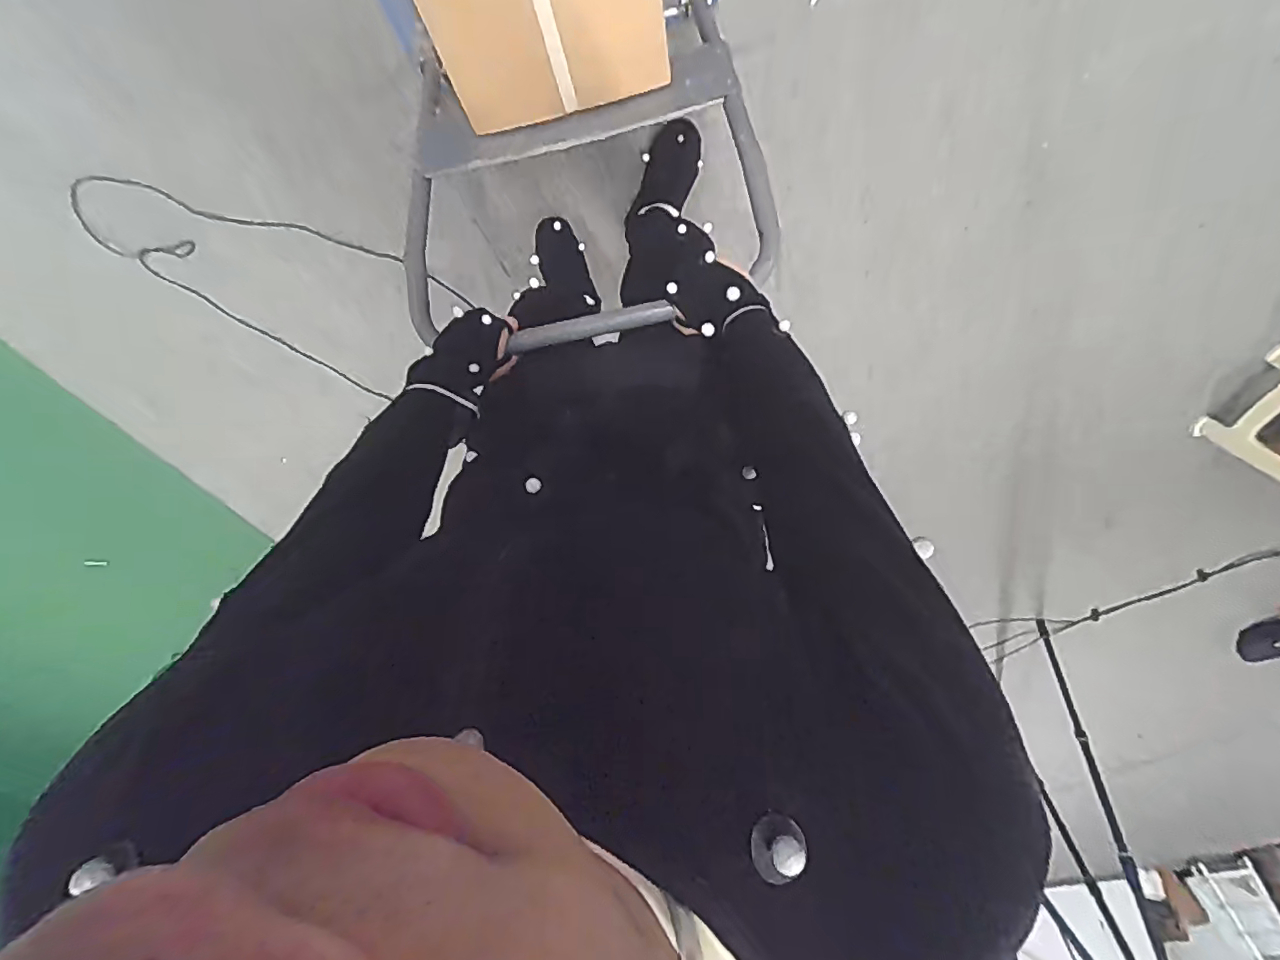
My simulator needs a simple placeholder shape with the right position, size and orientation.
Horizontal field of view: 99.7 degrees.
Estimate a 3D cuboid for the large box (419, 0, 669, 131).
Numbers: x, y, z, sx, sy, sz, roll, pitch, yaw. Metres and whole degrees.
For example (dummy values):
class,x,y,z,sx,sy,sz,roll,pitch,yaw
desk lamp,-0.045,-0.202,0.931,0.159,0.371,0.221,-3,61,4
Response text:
class,x,y,z,sx,sy,sz,roll,pitch,yaw
large box,-0.156,-0.792,0.731,0.320,0.320,0.408,-10,153,7
